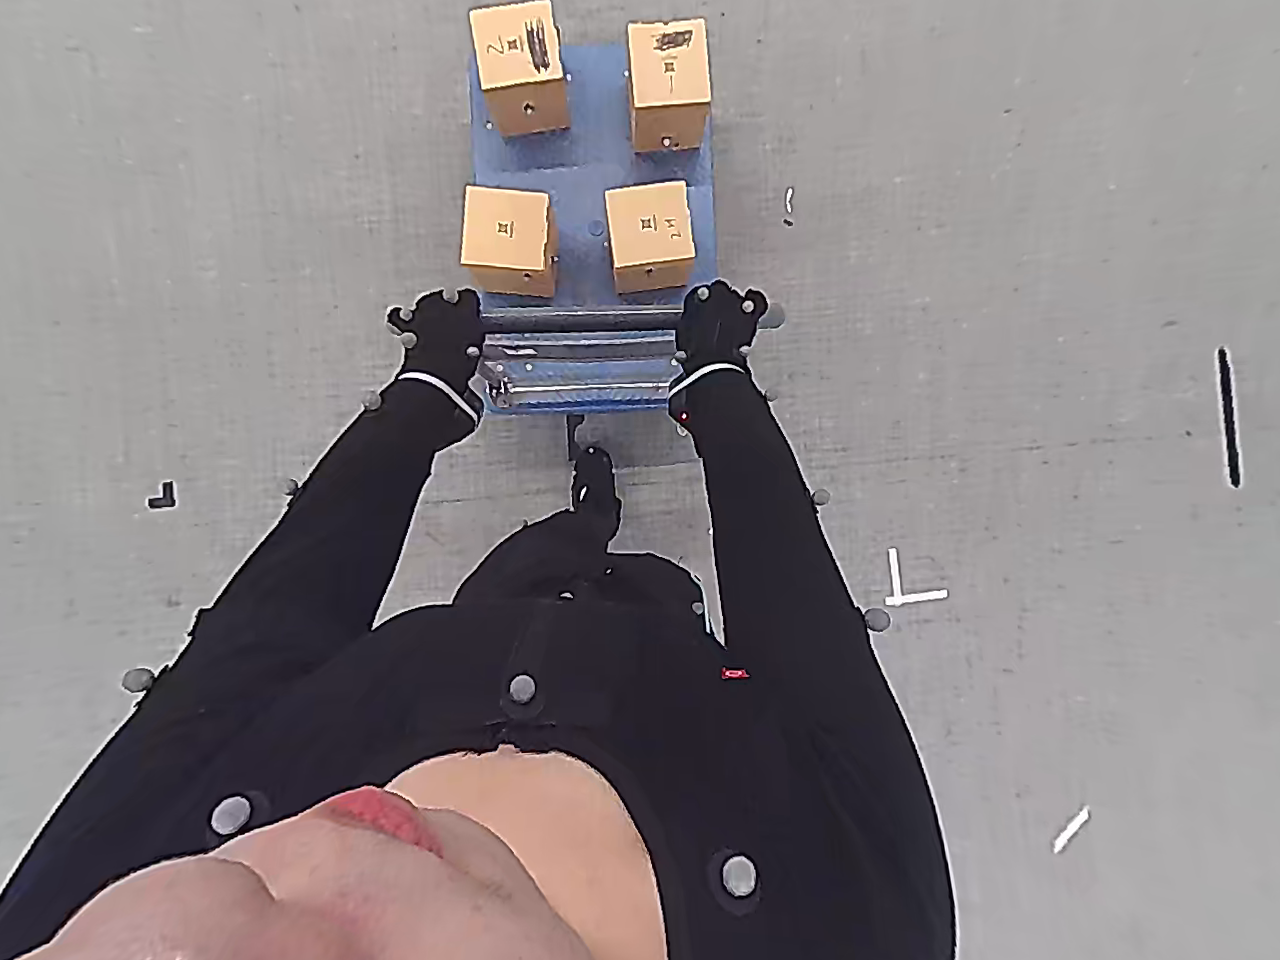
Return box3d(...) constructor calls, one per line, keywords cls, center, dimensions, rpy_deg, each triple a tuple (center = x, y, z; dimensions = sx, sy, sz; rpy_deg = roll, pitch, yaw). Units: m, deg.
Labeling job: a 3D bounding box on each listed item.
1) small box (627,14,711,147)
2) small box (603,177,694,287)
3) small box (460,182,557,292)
box3d(cls="small box", center=(0.059, -0.883, 1.207), dimensions=(0.168, 0.176, 0.179), rpy_deg=(-5, 92, -1))
box3d(cls="small box", center=(0.018, -0.546, 1.212), dimensions=(0.179, 0.176, 0.168), rpy_deg=(-8, 91, -1))
box3d(cls="small box", center=(-0.286, -0.533, 1.206), dimensions=(0.179, 0.176, 0.168), rpy_deg=(4, 90, -3))
